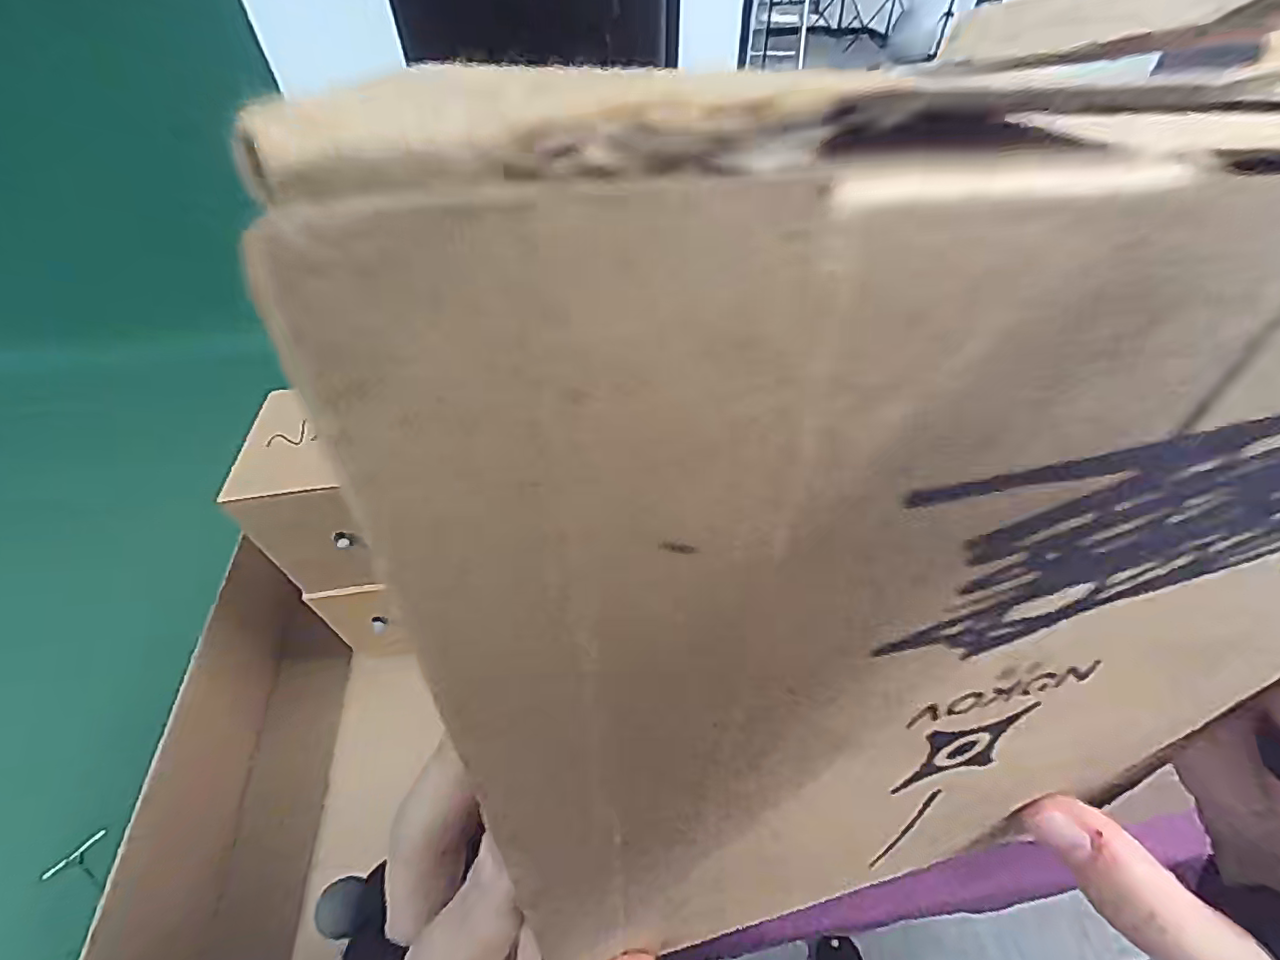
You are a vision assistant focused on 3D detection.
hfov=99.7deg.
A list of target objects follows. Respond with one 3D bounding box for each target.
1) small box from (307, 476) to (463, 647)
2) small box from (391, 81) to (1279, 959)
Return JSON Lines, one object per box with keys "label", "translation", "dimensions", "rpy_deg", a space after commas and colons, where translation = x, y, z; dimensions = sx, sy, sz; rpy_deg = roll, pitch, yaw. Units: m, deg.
{"label": "small box", "translation": [-0.313, 0.114, 0.743], "dimensions": [0.168, 0.176, 0.179], "rpy_deg": [-7, 49, -3]}
{"label": "small box", "translation": [0.041, -0.006, 0.157], "dimensions": [0.168, 0.179, 0.176], "rpy_deg": [-9, 40, -11]}
